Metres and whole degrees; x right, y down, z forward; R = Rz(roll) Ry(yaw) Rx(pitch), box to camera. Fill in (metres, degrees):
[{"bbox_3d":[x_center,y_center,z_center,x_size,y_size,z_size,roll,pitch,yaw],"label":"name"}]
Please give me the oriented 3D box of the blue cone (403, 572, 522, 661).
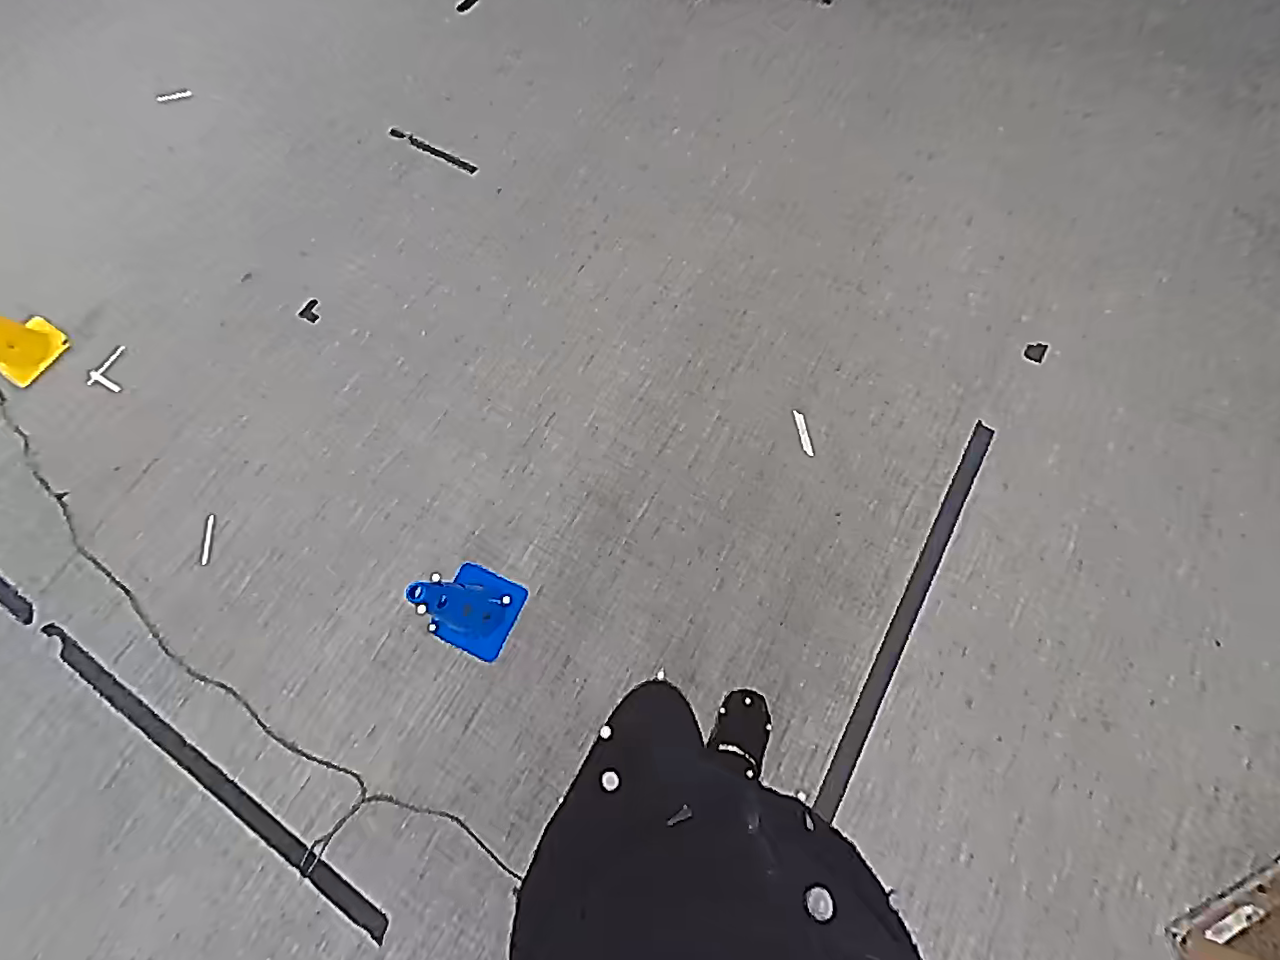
[{"bbox_3d":[-0.423,0.289,1.216,0.193,0.380,0.192,23,75,11],"label":"blue cone"}]
